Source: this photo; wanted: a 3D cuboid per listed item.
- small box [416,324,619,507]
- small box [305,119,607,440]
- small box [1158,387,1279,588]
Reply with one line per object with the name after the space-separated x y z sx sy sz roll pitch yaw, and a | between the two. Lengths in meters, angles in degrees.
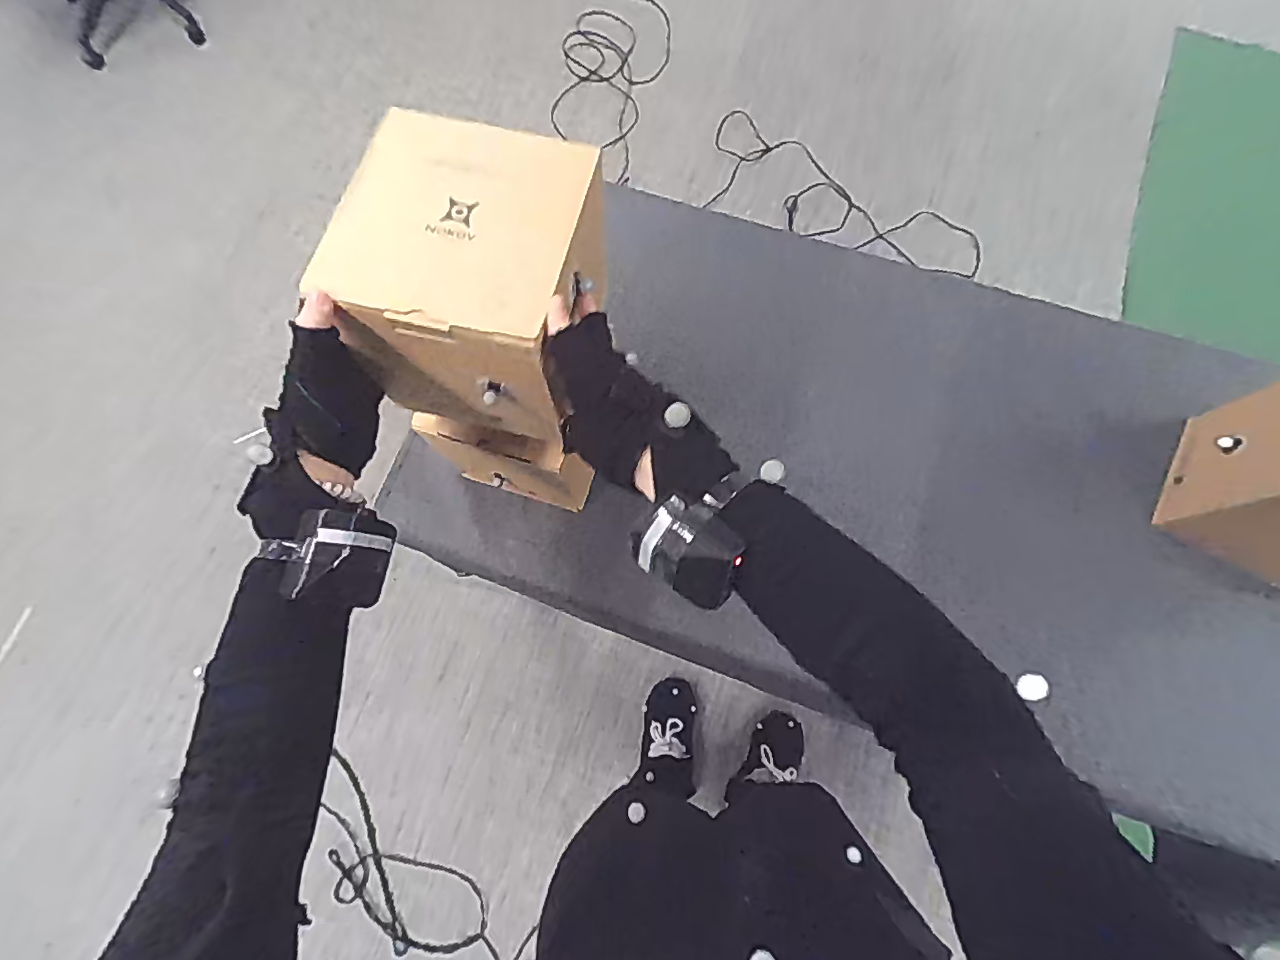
-0.127 -0.086 0.640 0.168 0.176 0.179 17 75 6 | small box
-0.127 -0.154 0.458 0.168 0.176 0.179 14 70 4 | small box
0.738 0.009 0.589 0.179 0.176 0.168 30 77 10 | small box
